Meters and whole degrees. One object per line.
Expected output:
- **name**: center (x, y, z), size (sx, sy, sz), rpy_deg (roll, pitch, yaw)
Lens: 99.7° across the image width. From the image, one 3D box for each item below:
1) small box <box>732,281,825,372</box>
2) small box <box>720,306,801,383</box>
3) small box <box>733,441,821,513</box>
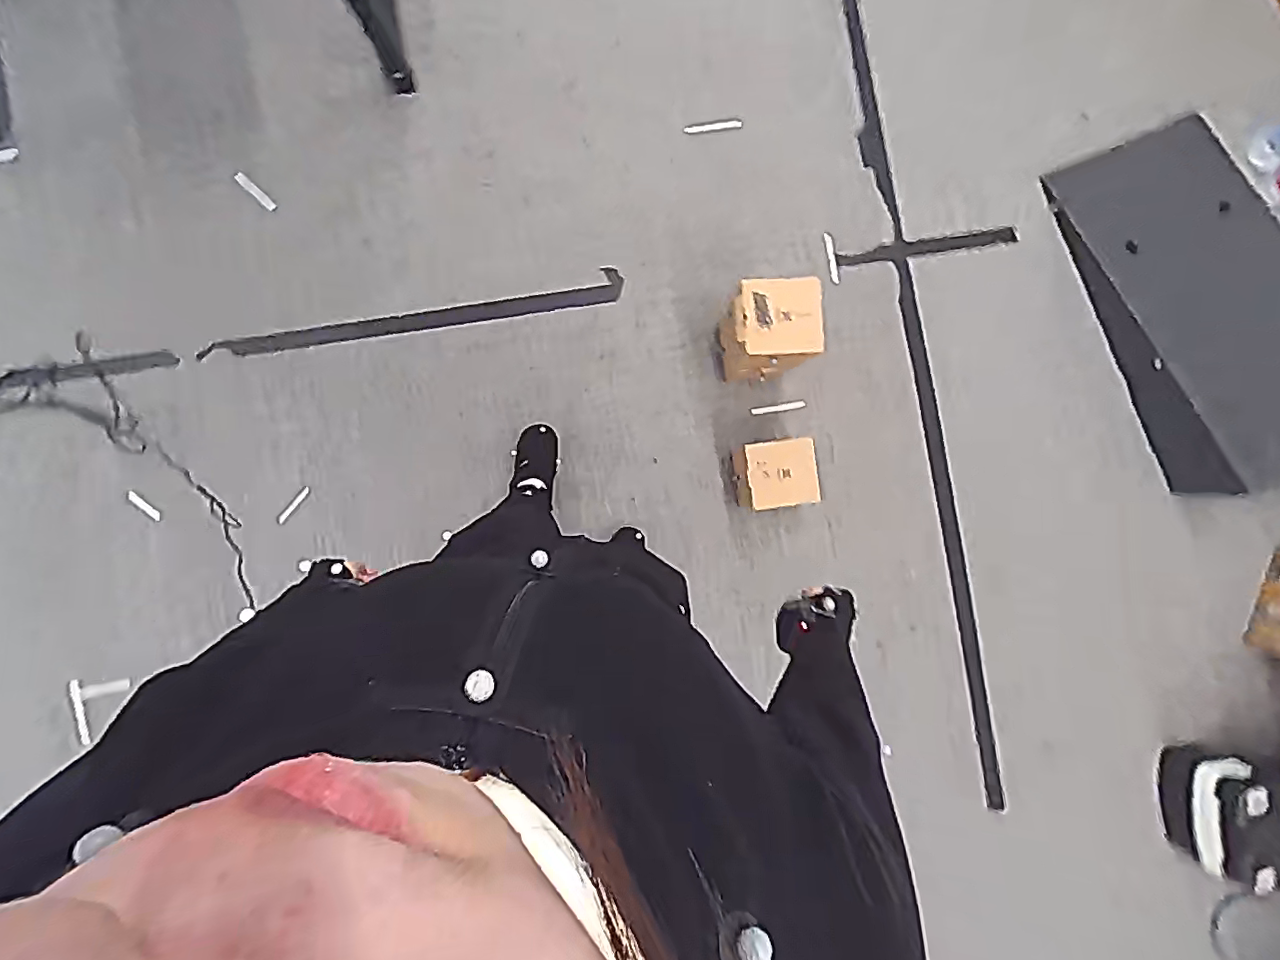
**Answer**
- **small box**: center (0.312, -0.349, 1.255), size (0.179, 0.176, 0.168), rpy_deg (-2, 90, -2)
- **small box**: center (0.312, -0.355, 1.420), size (0.168, 0.176, 0.179), rpy_deg (-7, 91, -2)
- **small box**: center (0.354, -0.009, 1.422), size (0.179, 0.176, 0.168), rpy_deg (-7, 90, -1)
